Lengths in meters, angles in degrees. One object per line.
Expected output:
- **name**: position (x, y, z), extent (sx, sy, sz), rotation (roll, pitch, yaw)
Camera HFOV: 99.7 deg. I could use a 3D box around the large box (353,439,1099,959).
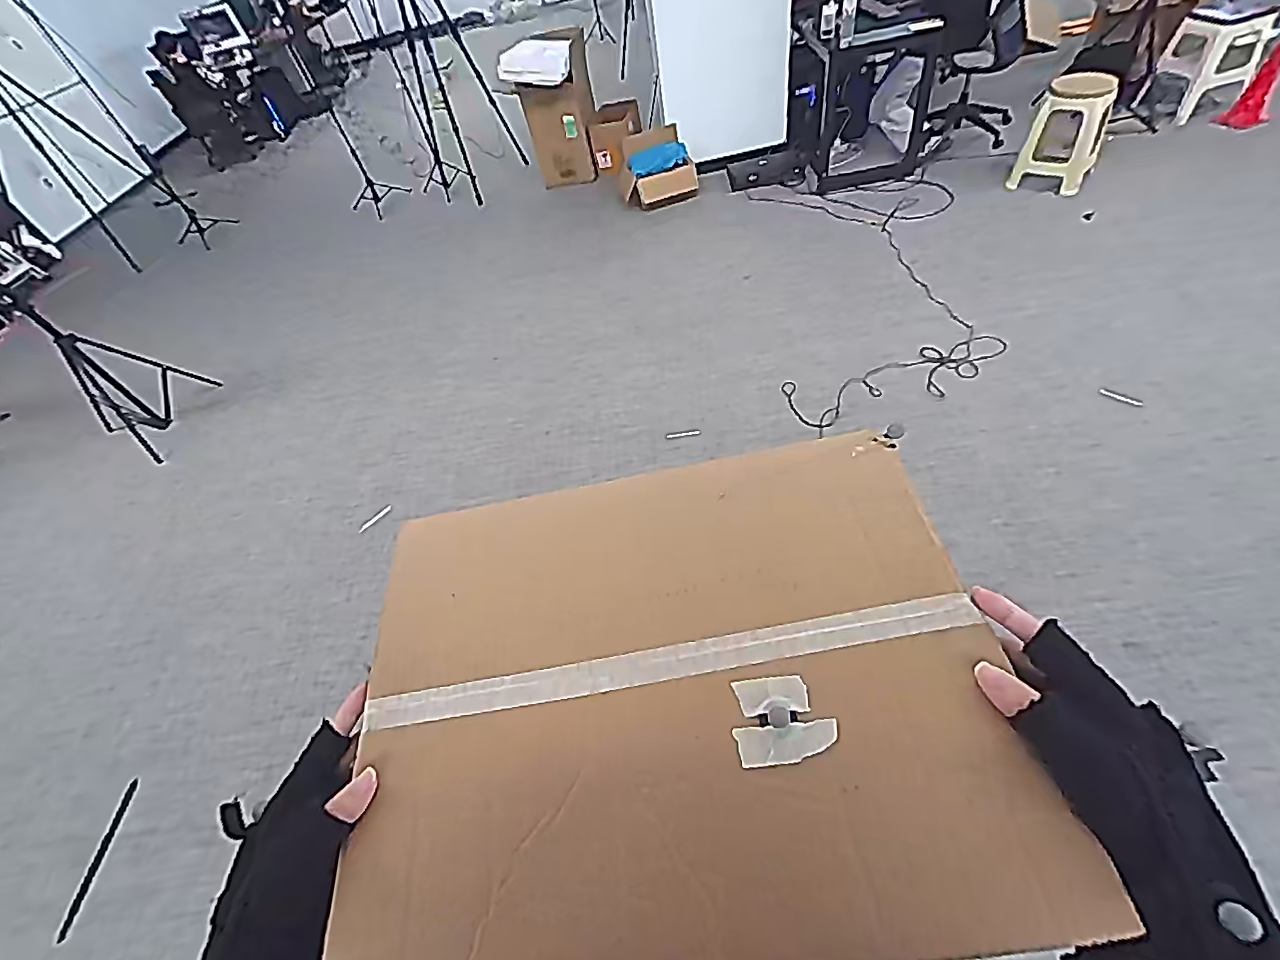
- **large box**: position (0.041, 0.212, 0.485), extent (0.408, 0.320, 0.320), rotation (-11, 54, 4)
